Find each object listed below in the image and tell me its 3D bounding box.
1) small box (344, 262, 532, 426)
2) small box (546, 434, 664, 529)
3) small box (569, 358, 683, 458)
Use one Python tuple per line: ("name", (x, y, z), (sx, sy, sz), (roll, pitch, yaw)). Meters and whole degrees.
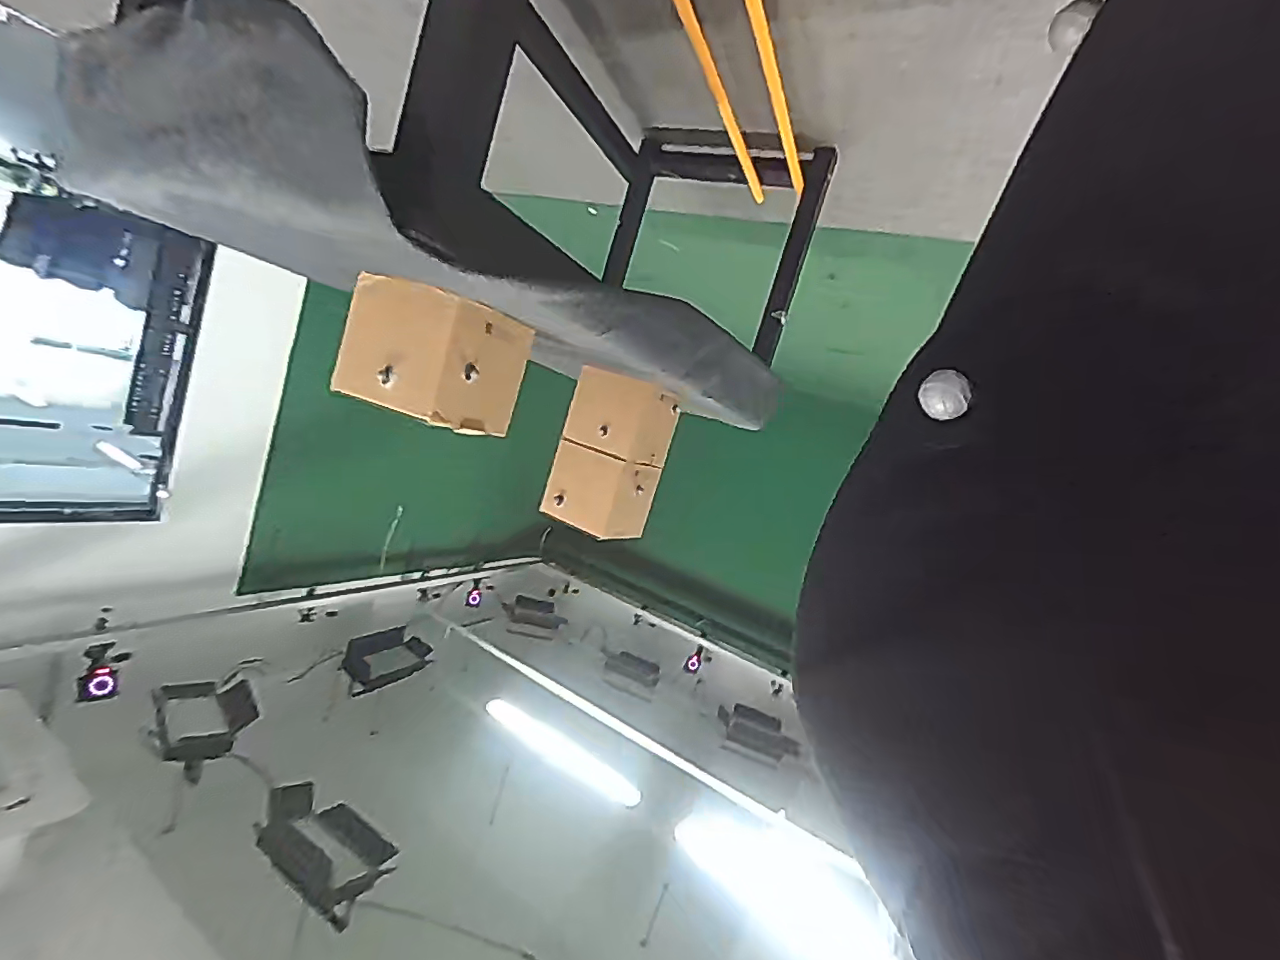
("small box", (-0.271, -0.186, 0.758), (0.179, 0.176, 0.168), (20, -174, 20))
("small box", (-0.072, 0.000, 1.195), (0.179, 0.176, 0.168), (21, -172, 30))
("small box", (-0.022, -0.156, 1.176), (0.179, 0.176, 0.168), (21, -173, 28))
